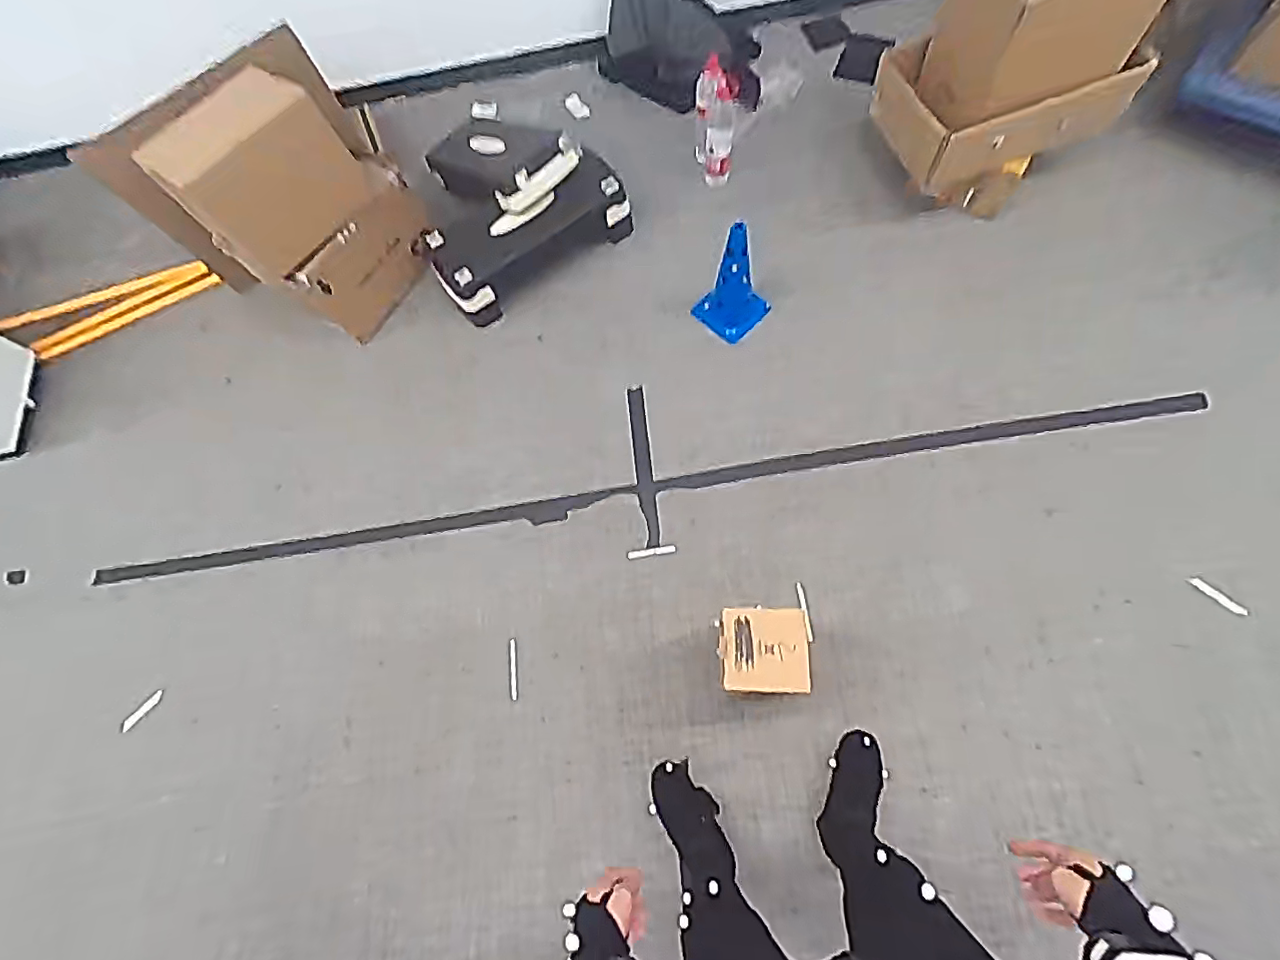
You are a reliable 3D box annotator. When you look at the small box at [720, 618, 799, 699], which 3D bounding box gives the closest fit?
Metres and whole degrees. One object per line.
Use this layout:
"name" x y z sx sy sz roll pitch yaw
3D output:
"small box" 0.290 0.442 1.344 0.168 0.176 0.179 -5 69 4
